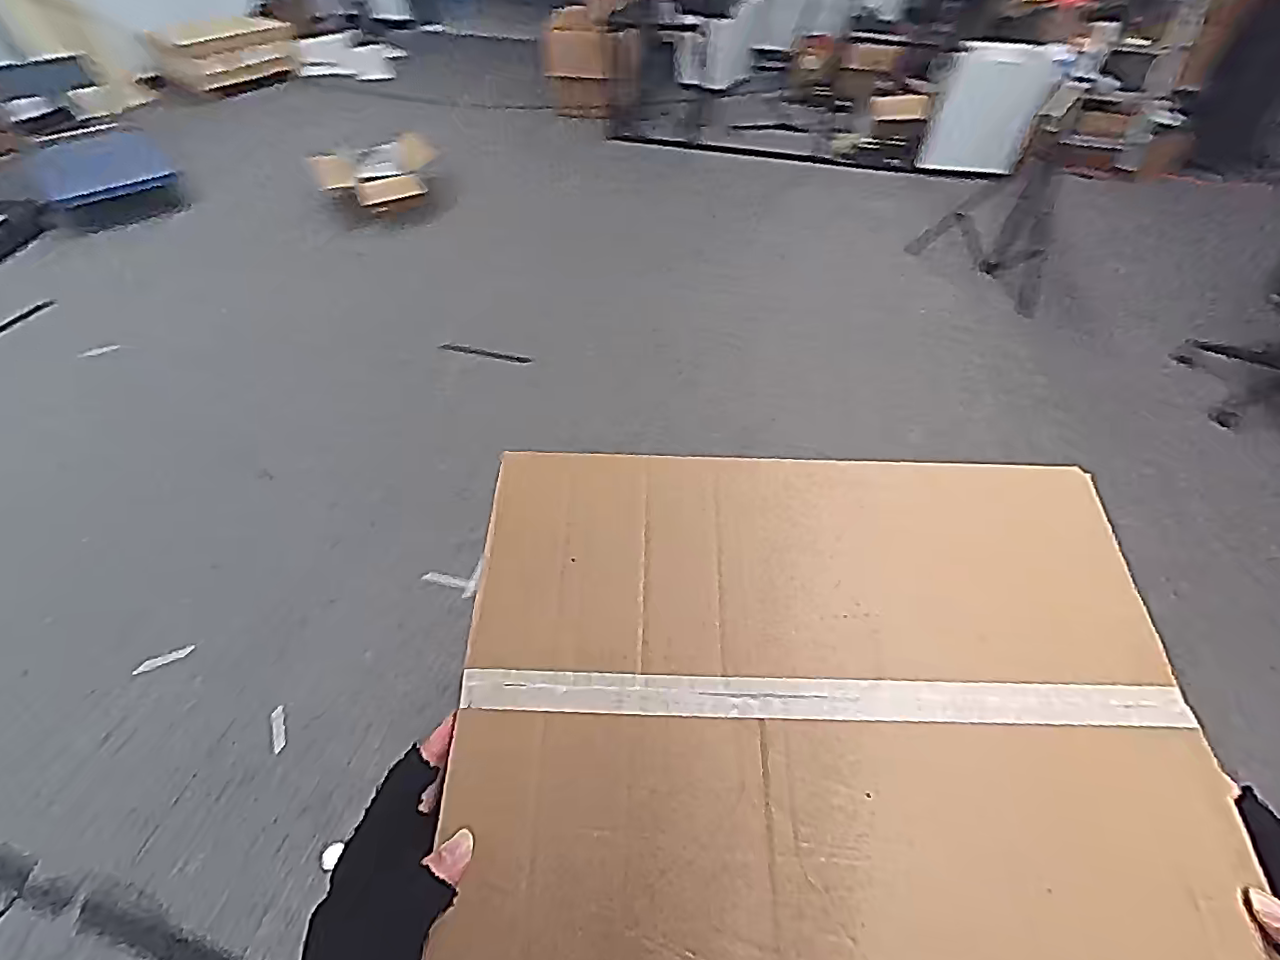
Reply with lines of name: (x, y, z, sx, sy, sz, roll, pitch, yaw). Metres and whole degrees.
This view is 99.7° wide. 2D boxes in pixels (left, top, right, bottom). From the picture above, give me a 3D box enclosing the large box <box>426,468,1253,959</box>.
large box: (0.096, 0.199, 0.443, 0.408, 0.320, 0.320, 0, 61, 0)
